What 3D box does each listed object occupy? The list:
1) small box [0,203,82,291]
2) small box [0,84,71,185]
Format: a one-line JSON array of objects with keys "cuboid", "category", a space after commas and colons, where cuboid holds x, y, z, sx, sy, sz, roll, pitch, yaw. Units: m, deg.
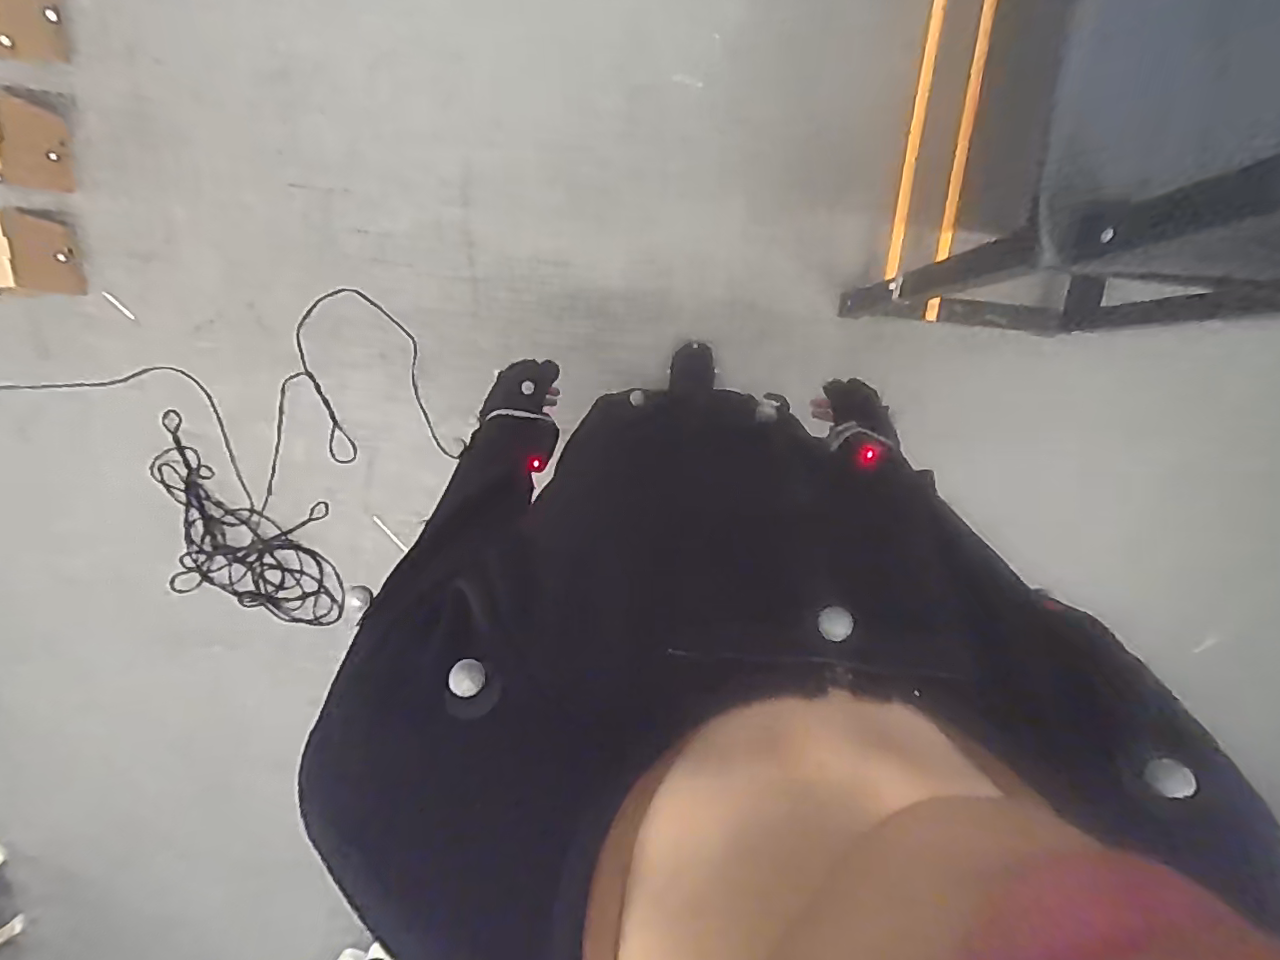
[{"cuboid": [-1.488, -0.540, 1.266, 0.179, 0.176, 0.168, -2, 103, -1], "category": "small box"}, {"cuboid": [-1.458, -0.785, 1.218, 0.179, 0.176, 0.168, 6, 102, -3], "category": "small box"}]
